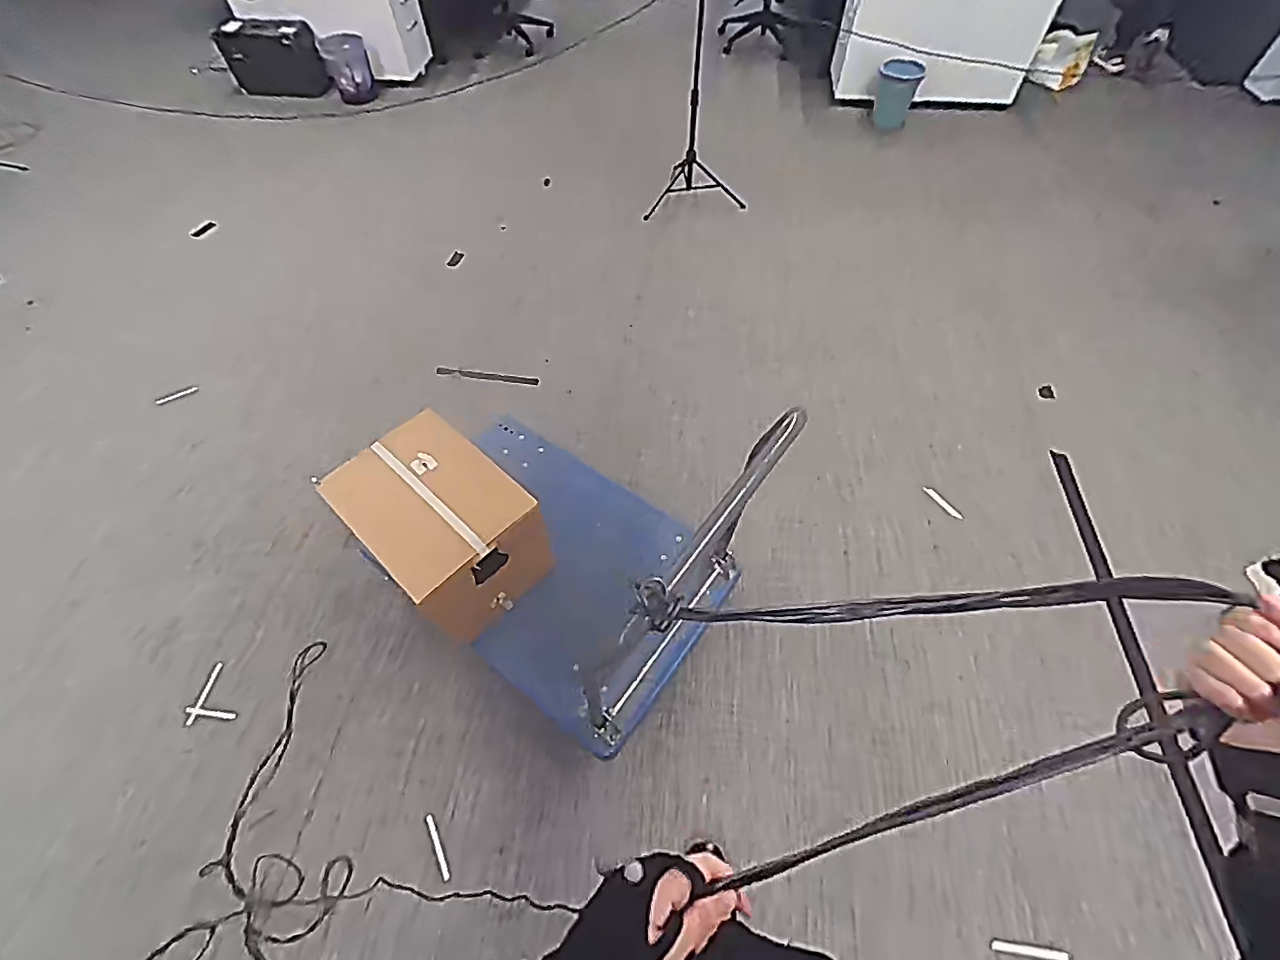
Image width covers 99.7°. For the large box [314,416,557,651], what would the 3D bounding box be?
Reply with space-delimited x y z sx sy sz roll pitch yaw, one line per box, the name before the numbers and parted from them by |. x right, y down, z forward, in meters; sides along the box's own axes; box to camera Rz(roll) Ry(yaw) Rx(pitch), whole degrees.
large box | -0.460 0.128 1.287 0.408 0.320 0.320 37 63 23
